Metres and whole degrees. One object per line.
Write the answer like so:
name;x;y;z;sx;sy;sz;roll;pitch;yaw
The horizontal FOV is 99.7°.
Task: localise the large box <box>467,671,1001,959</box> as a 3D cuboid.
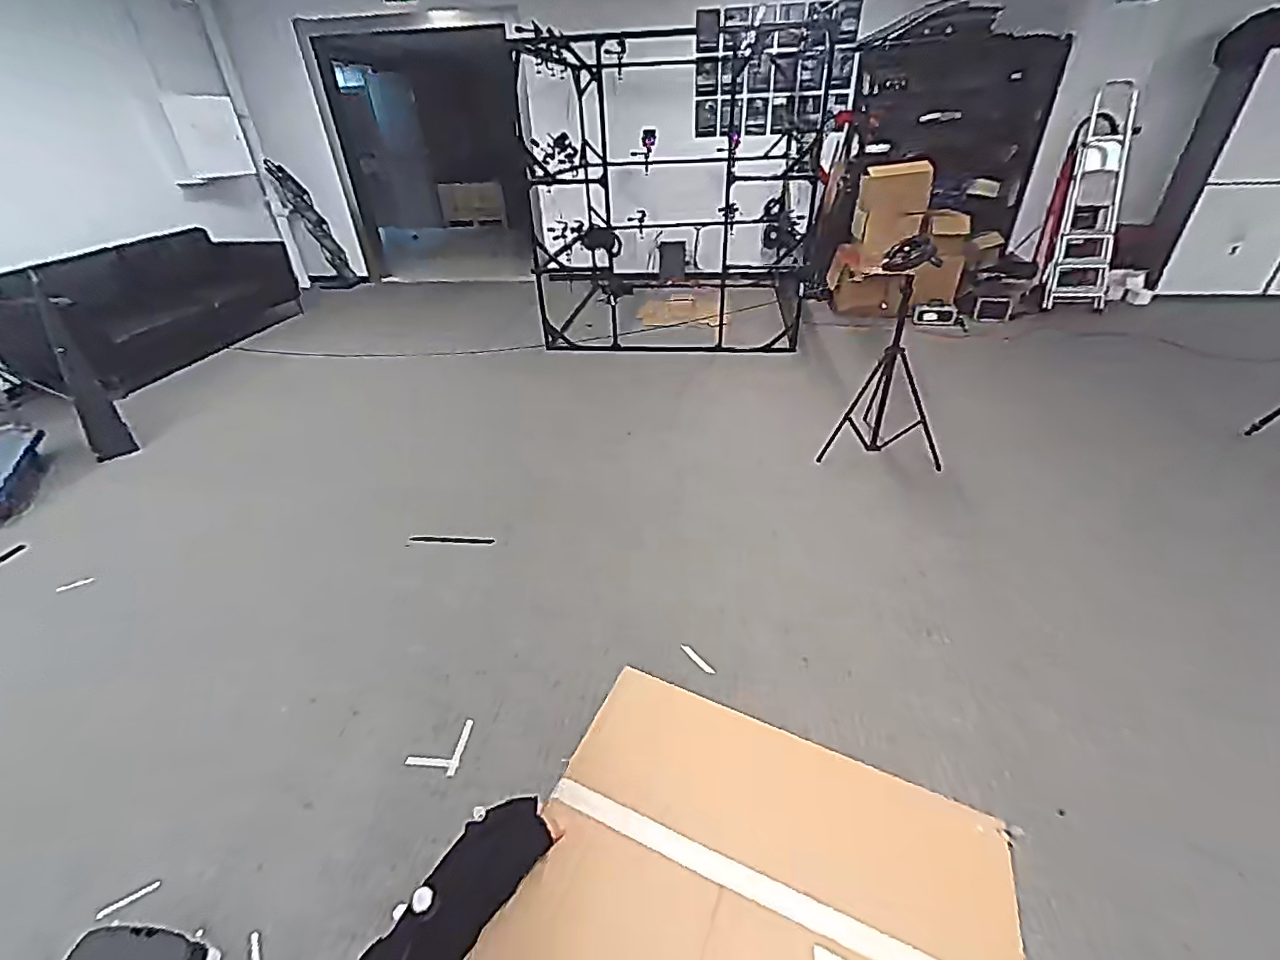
large box;0.089;0.476;0.558;0.408;0.320;0.320;16;36;17
